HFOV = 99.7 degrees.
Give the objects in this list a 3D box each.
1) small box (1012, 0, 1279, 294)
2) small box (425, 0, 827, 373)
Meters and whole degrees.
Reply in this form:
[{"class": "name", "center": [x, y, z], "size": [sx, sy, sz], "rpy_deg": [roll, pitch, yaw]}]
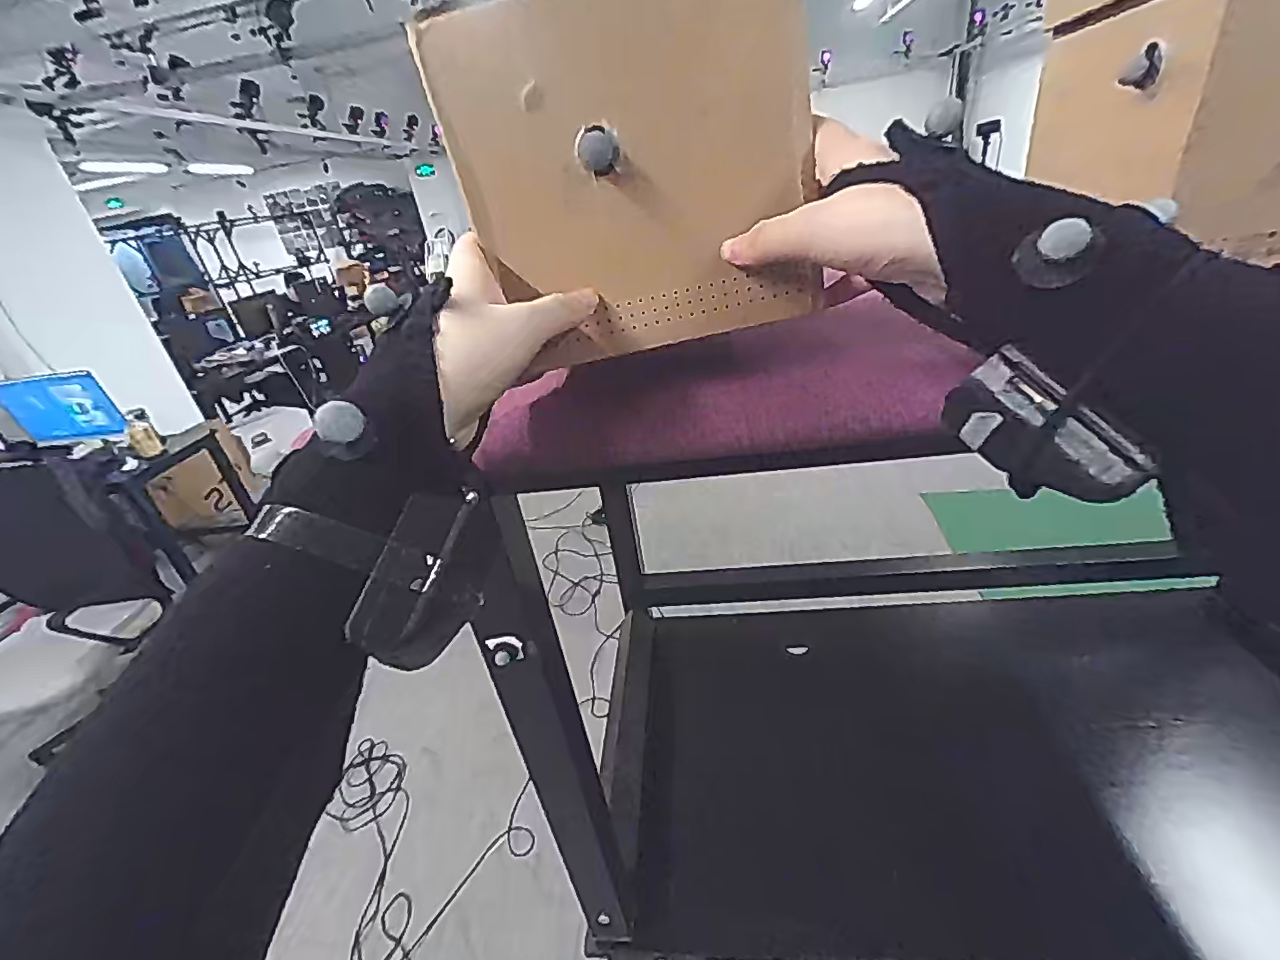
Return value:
[{"class": "small box", "center": [0.400, -0.232, 0.378], "size": [0.168, 0.176, 0.179], "rpy_deg": [-4, 28, 8]}, {"class": "small box", "center": [0.004, -0.176, 0.340], "size": [0.179, 0.176, 0.168], "rpy_deg": [-11, 25, 6]}]
